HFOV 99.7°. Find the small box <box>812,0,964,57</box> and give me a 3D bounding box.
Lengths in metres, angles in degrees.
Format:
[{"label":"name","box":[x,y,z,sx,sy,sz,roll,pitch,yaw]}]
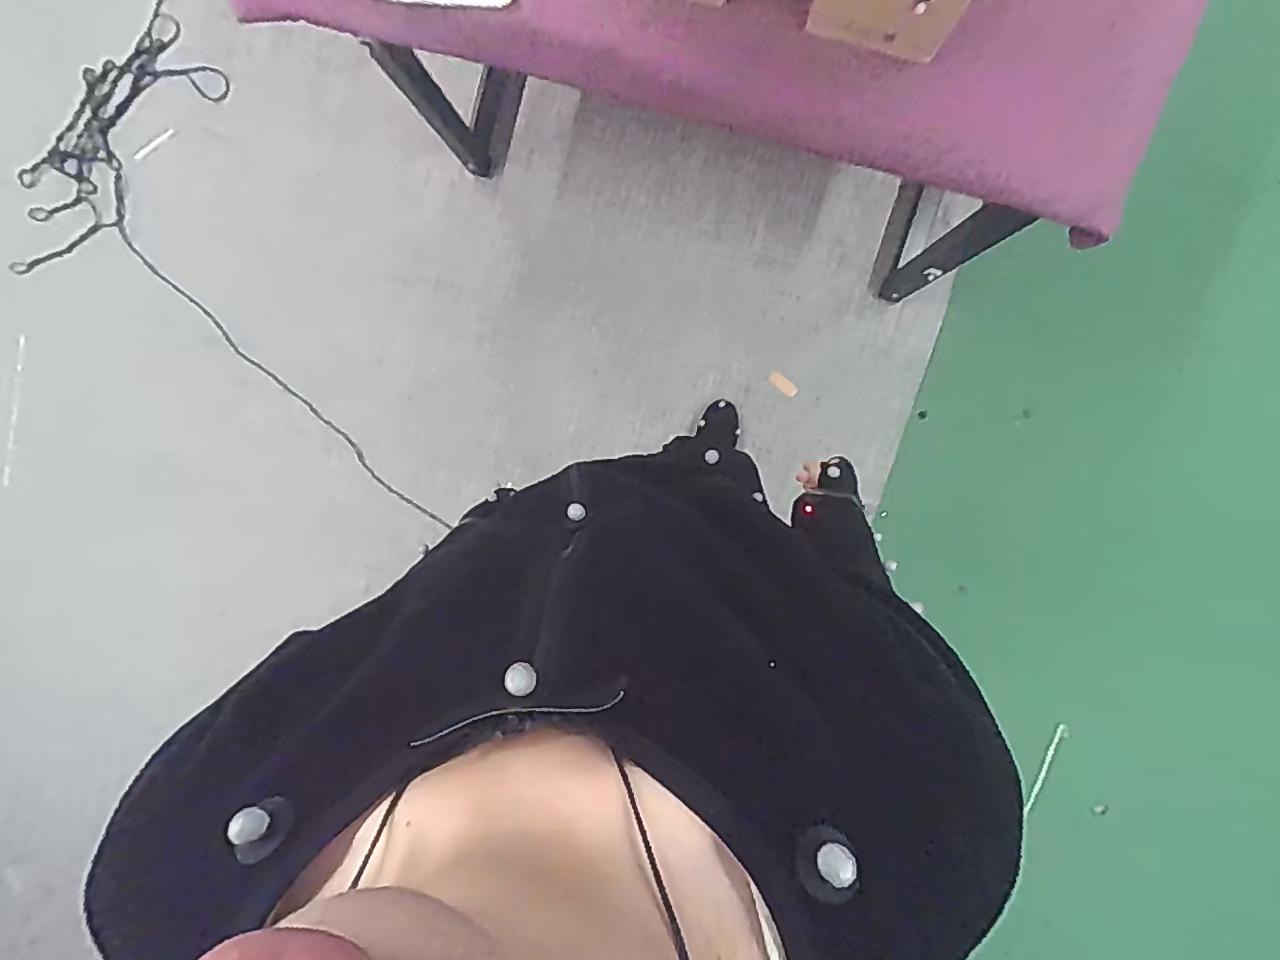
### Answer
[{"label":"small box","box":[0.308,-0.630,0.603,0.168,0.176,0.179,18,95,2]}]
